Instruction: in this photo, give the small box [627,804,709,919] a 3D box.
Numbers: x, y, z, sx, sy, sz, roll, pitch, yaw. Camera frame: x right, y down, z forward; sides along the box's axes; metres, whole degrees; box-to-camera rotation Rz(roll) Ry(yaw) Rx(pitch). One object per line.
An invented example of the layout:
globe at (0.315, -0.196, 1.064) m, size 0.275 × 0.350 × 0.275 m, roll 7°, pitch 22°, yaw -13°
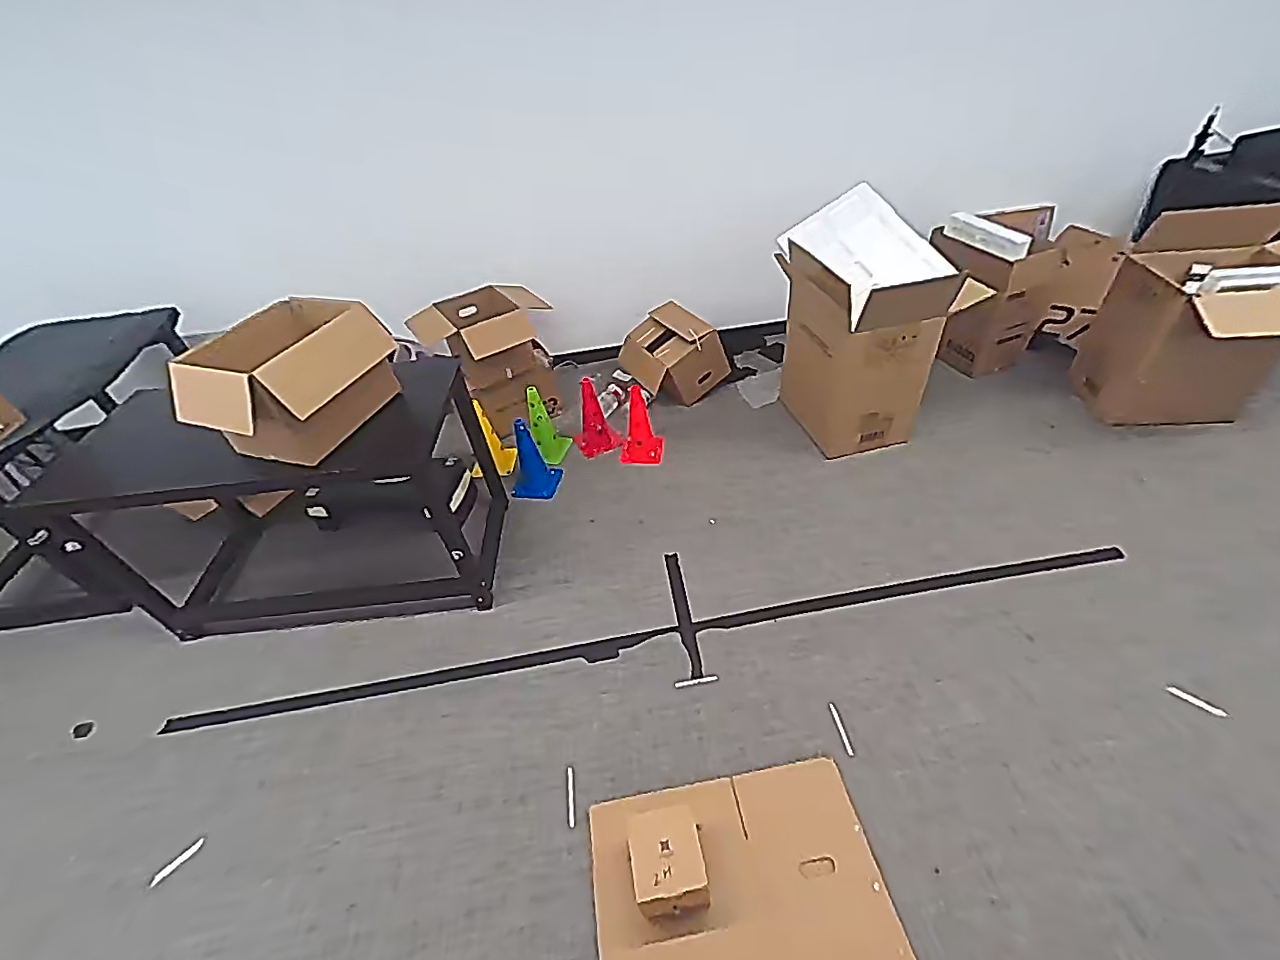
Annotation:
small box at (0.066, 0.917, 1.298) m, size 0.168 × 0.176 × 0.179 m, roll -11°, pitch 42°, yaw -3°
